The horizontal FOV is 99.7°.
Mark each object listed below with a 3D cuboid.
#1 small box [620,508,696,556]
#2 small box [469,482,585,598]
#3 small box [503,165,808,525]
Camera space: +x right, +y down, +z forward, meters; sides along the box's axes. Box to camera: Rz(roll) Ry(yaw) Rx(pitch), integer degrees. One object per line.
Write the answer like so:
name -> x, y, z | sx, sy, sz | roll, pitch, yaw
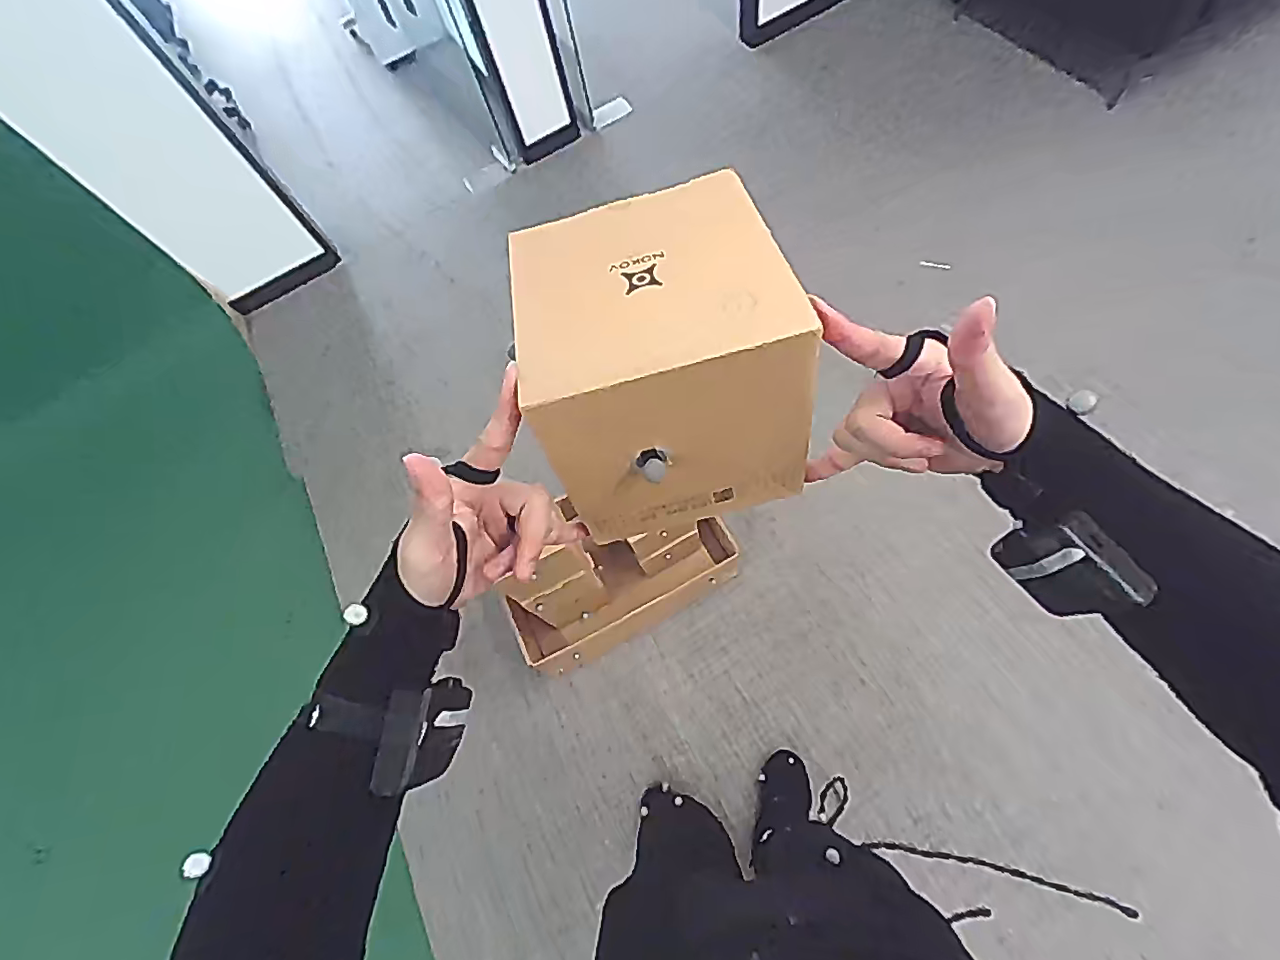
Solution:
small box -> 0.028, 0.070, 1.357 | 0.179, 0.176, 0.168 | -30, 66, -4
small box -> -0.242, 0.139, 1.189 | 0.179, 0.176, 0.168 | -27, 64, -4
small box -> 0.013, -0.084, 0.394 | 0.168, 0.176, 0.179 | -15, 54, 3
